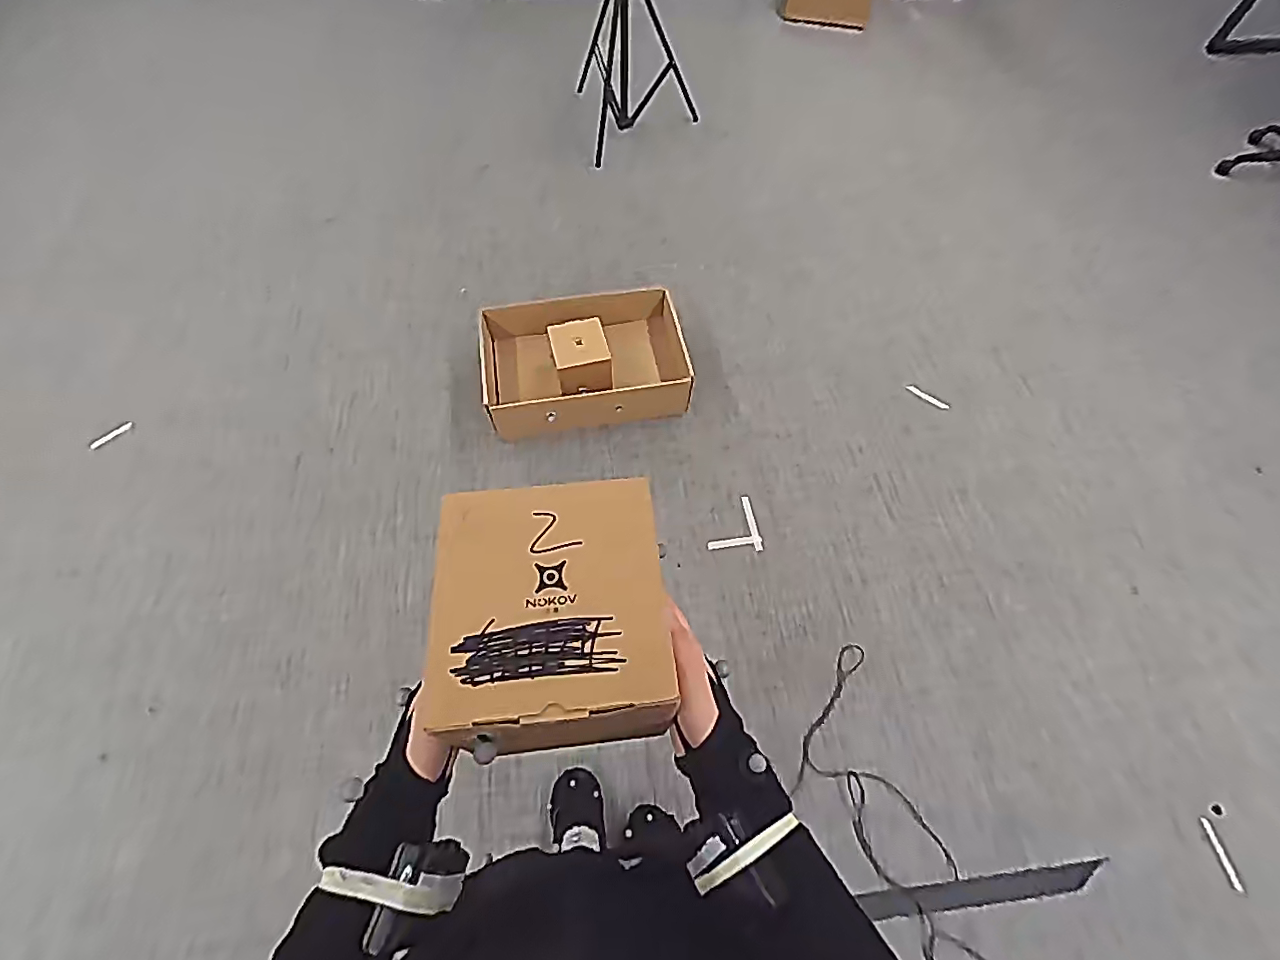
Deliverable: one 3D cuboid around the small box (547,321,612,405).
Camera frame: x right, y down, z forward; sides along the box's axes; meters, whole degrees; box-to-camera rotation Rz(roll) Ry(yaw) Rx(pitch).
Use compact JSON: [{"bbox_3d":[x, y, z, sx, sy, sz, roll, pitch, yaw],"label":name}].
[{"bbox_3d":[-0.189,-0.366,1.700,0.168,0.176,0.179,-14,64,-8],"label":"small box"}]
